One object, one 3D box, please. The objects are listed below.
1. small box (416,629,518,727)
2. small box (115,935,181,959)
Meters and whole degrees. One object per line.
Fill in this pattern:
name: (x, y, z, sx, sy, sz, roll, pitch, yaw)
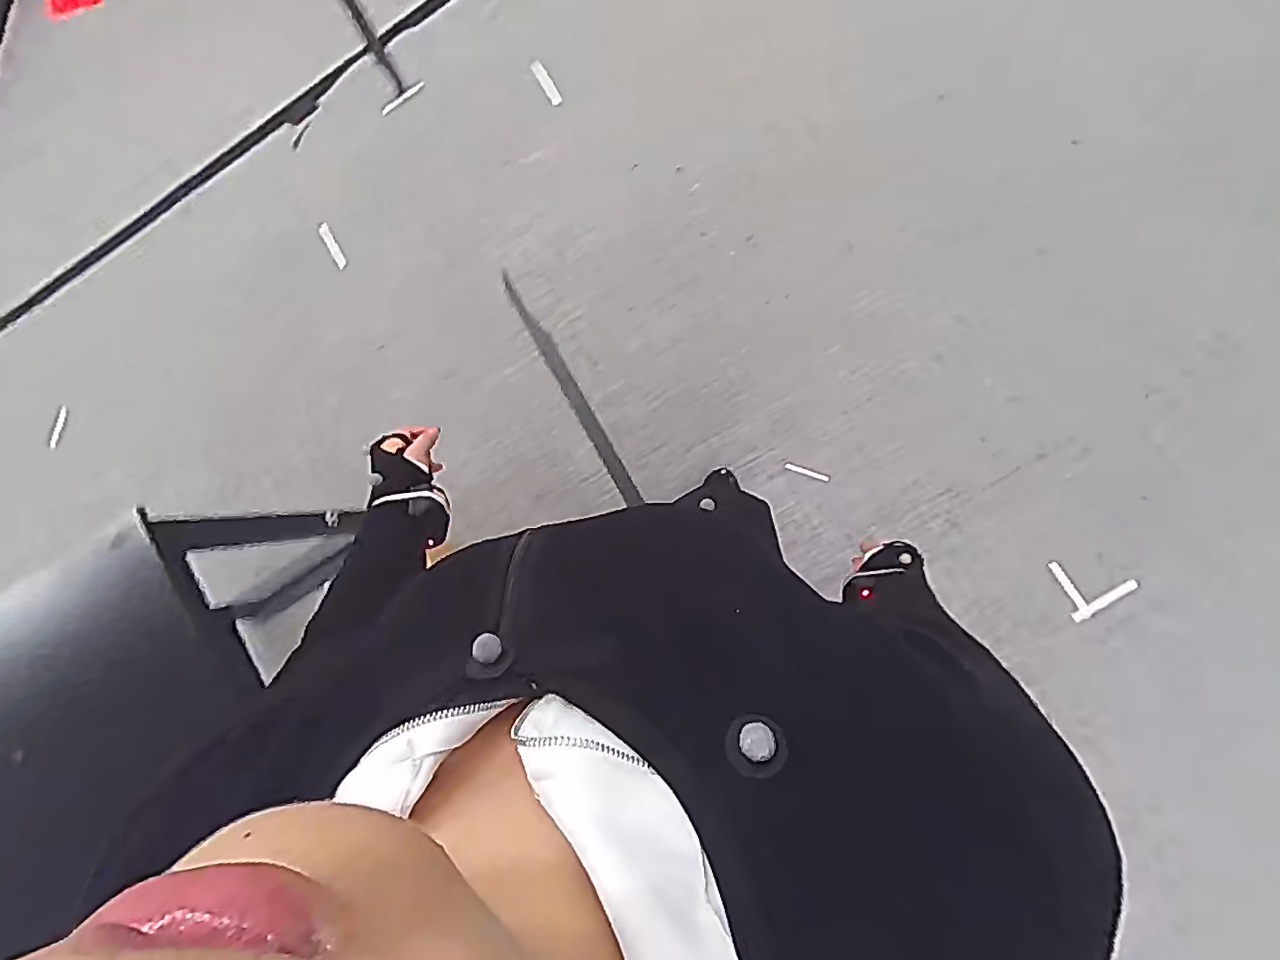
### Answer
small box: (-0.461, 0.523, 1.463, 0.168, 0.176, 0.179, -32, 86, 5)
small box: (-0.771, 0.805, 0.752, 0.179, 0.176, 0.168, -32, 84, 3)
